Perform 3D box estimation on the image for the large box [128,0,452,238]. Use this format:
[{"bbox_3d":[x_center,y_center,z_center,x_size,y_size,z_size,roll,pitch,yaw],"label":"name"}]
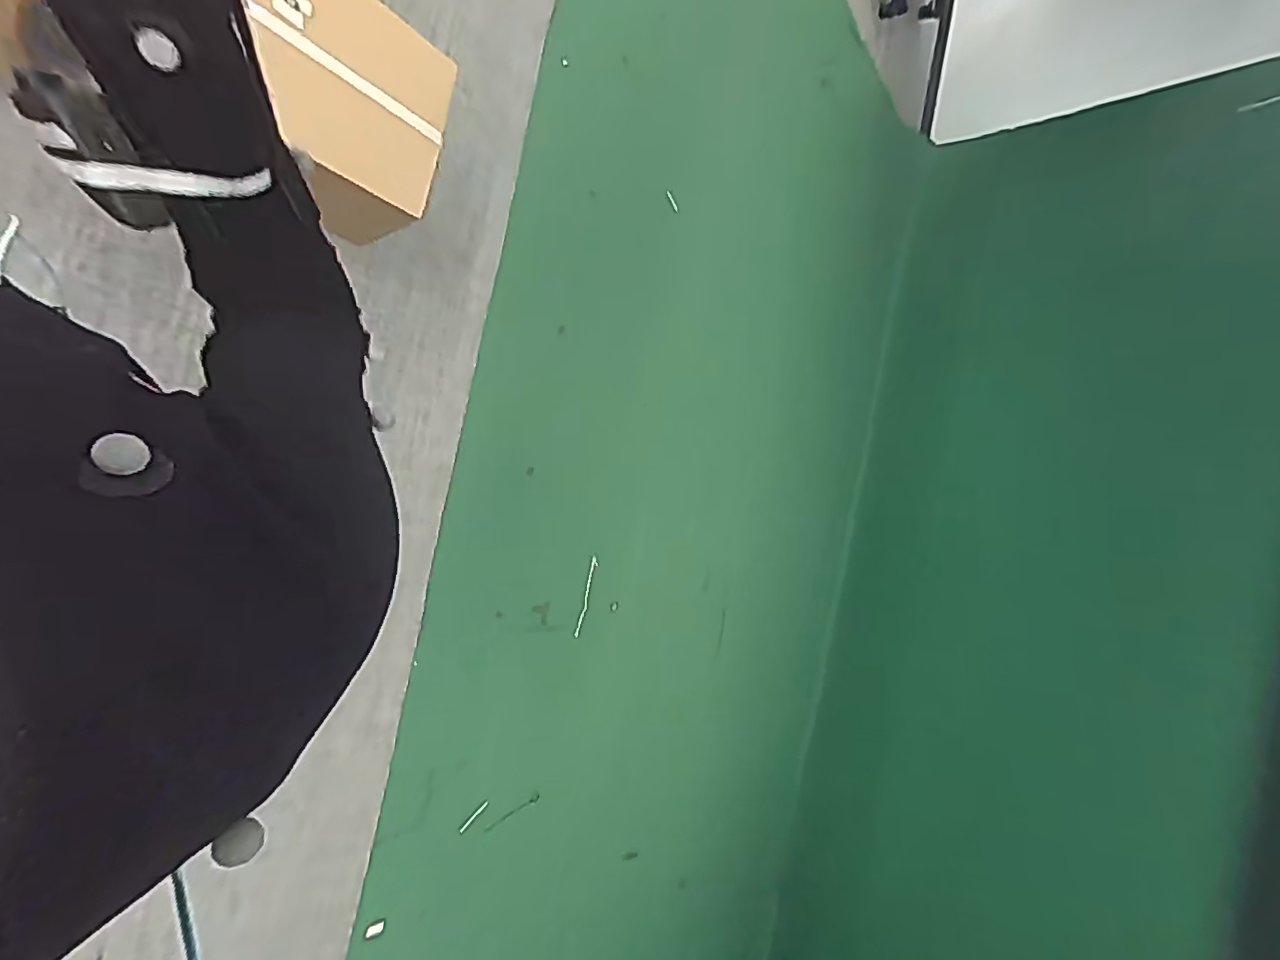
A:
[{"bbox_3d":[-0.630,-0.708,0.998,0.408,0.320,0.320,16,85,-47],"label":"large box"}]
